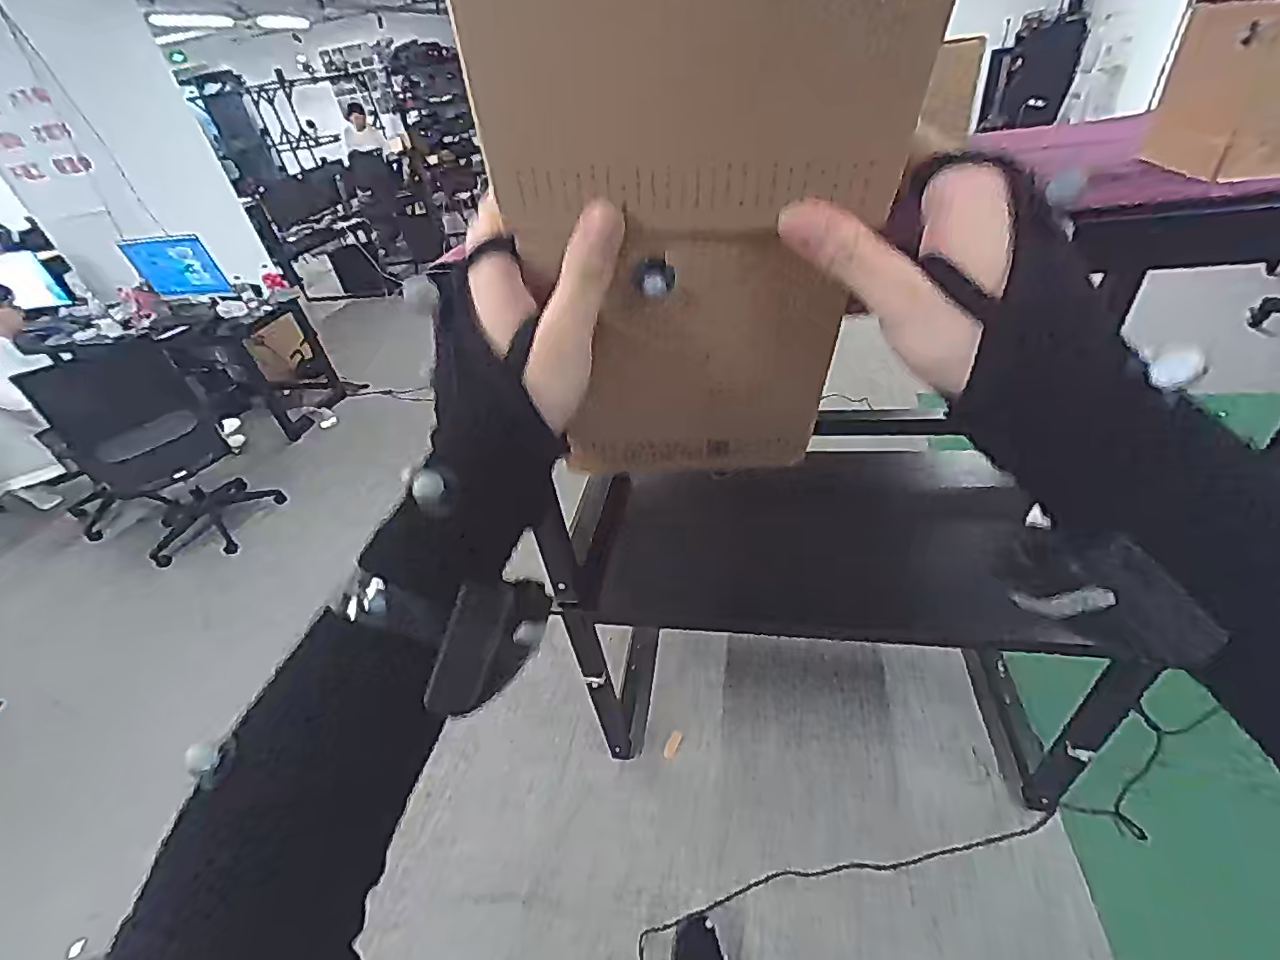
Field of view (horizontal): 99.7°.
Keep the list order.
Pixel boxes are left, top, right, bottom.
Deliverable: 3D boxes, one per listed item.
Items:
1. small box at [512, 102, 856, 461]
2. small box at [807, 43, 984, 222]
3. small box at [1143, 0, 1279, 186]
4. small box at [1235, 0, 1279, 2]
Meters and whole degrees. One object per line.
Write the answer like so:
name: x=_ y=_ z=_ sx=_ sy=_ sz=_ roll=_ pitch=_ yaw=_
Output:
small box: x=0.023 y=-0.132 z=0.368 sx=0.168 sy=0.176 sz=0.179 roll=-3 pitch=49 yaw=2
small box: x=0.305 y=-0.439 z=0.693 sx=0.179 sy=0.176 sz=0.168 roll=1 pitch=37 yaw=15
small box: x=0.727 y=-0.442 z=0.605 sx=0.168 sy=0.176 sz=0.179 roll=1 pitch=39 yaw=14
small box: x=0.696 y=-0.566 z=0.500 sx=0.179 sy=0.176 sz=0.168 roll=0 pitch=39 yaw=14
